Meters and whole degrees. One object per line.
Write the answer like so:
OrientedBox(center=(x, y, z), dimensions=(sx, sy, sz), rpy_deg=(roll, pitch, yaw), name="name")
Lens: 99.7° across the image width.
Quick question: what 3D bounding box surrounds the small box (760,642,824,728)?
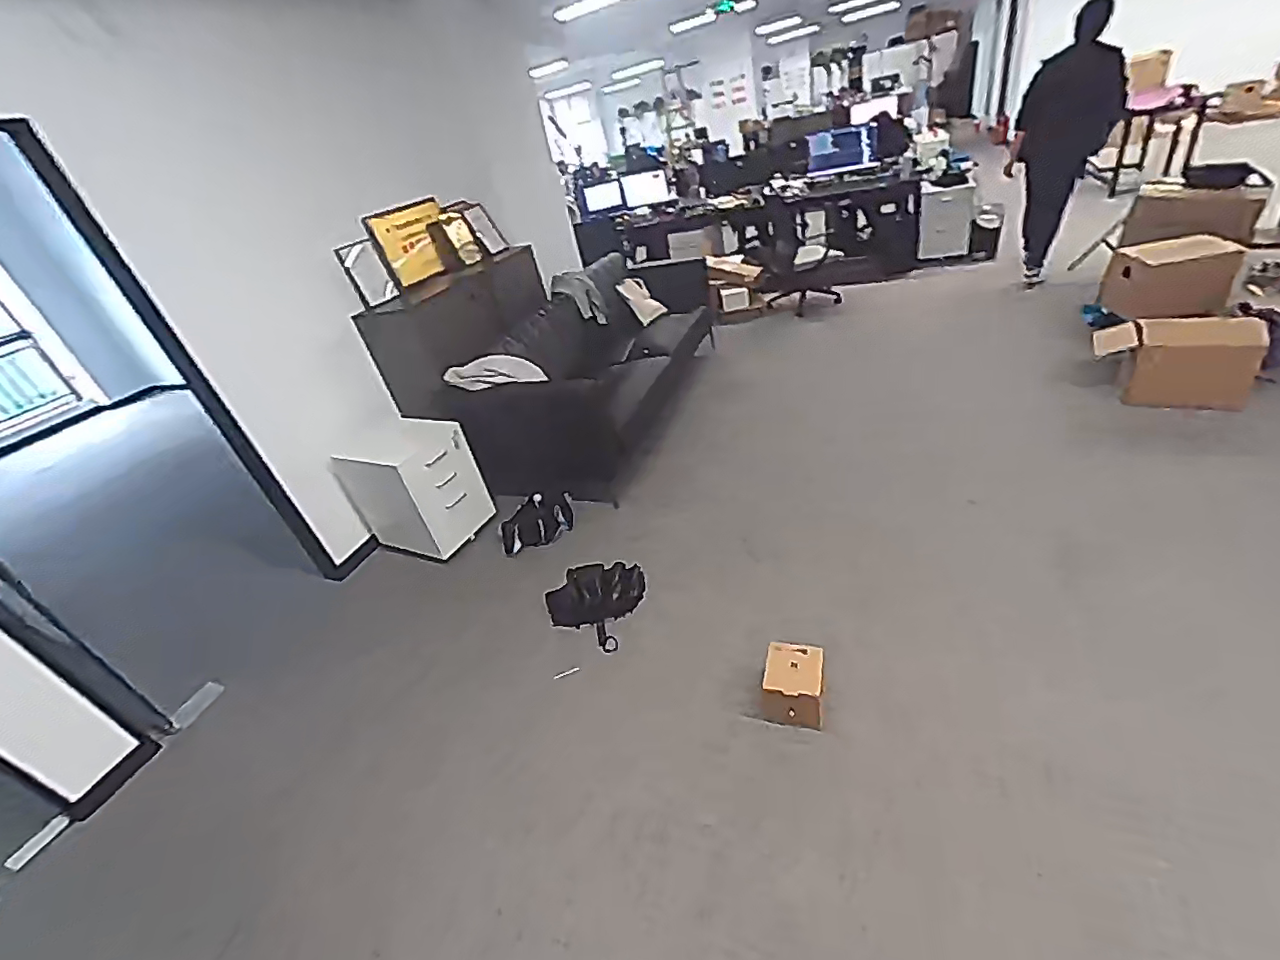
OrientedBox(center=(0.474, 0.630, 1.661), dimensions=(0.168, 0.176, 0.179), rpy_deg=(1, 35, 23), name="small box")
